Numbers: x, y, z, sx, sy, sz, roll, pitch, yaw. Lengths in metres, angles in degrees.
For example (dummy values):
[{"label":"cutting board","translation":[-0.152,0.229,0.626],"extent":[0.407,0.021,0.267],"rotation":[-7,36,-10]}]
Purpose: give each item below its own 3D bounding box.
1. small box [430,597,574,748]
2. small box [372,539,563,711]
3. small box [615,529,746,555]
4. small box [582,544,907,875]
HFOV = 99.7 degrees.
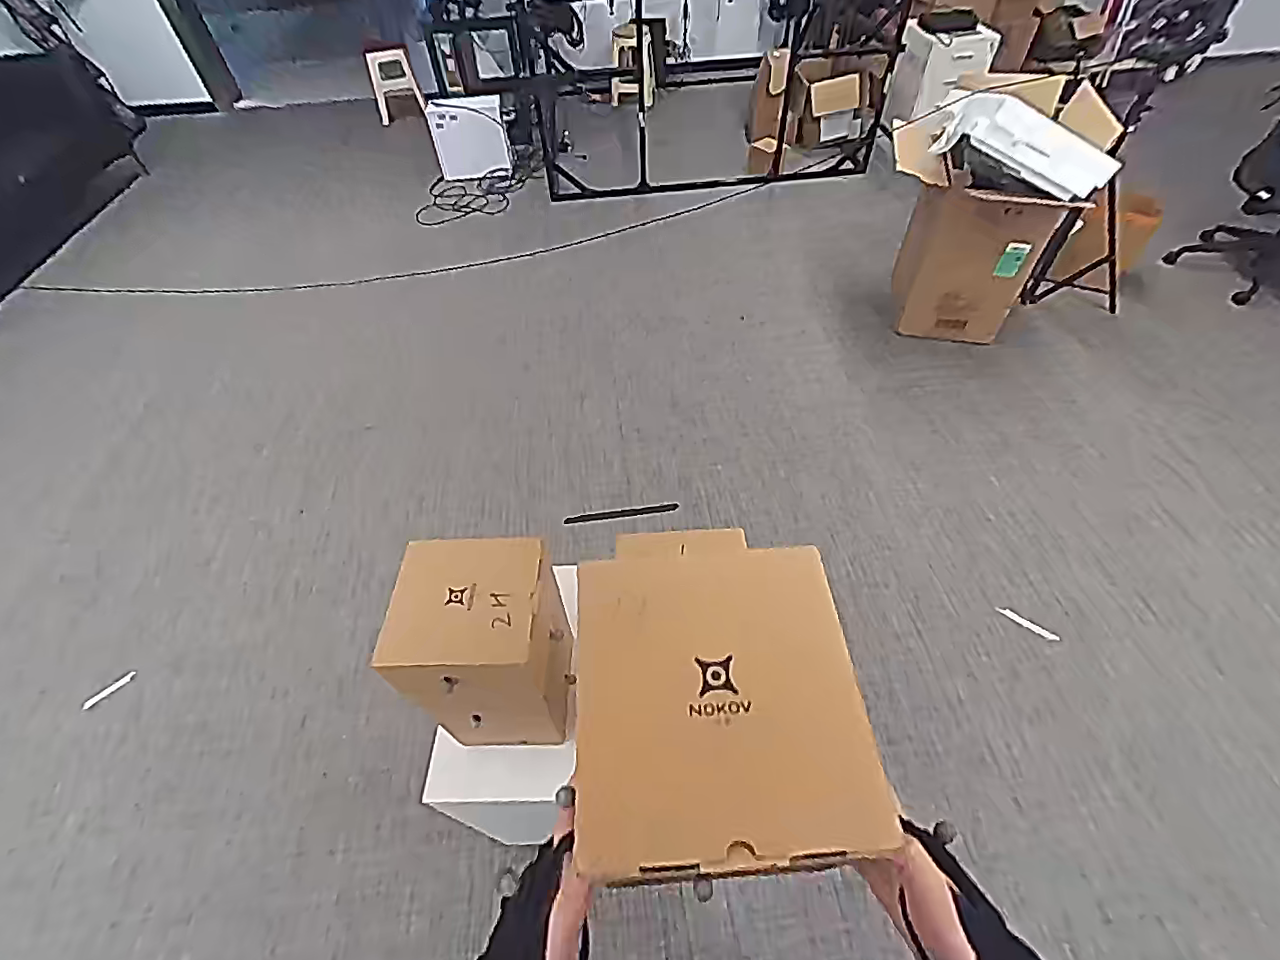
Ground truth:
[{"label":"small box","translation":[-0.198,0.293,0.829],"extent":[0.168,0.176,0.179],"rotation":[-1,50,2]},{"label":"small box","translation":[-0.204,0.191,0.699],"extent":[0.179,0.176,0.168],"rotation":[-1,51,1]},{"label":"small box","translation":[0.057,0.184,0.693],"extent":[0.168,0.176,0.179],"rotation":[-3,50,1]},{"label":"small box","translation":[0.048,0.165,0.380],"extent":[0.168,0.176,0.179],"rotation":[-4,54,-1]}]
